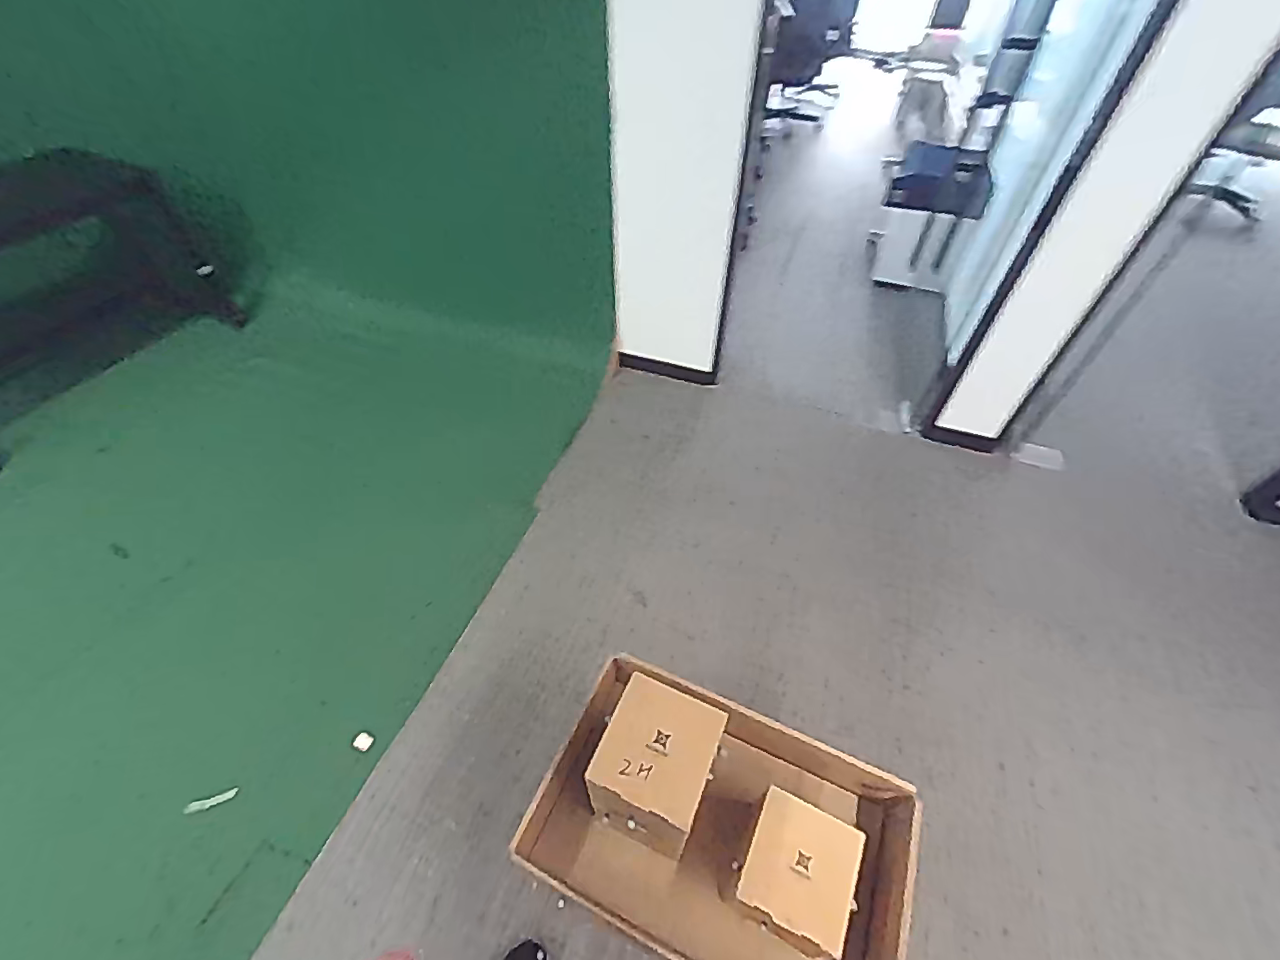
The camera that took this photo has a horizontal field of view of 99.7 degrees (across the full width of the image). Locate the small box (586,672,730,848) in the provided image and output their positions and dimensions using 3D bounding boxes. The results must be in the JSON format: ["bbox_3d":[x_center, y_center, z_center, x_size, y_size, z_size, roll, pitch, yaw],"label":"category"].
[{"bbox_3d":[0.028,0.447,0.864,0.168,0.176,0.179,20,52,16],"label":"small box"}]
